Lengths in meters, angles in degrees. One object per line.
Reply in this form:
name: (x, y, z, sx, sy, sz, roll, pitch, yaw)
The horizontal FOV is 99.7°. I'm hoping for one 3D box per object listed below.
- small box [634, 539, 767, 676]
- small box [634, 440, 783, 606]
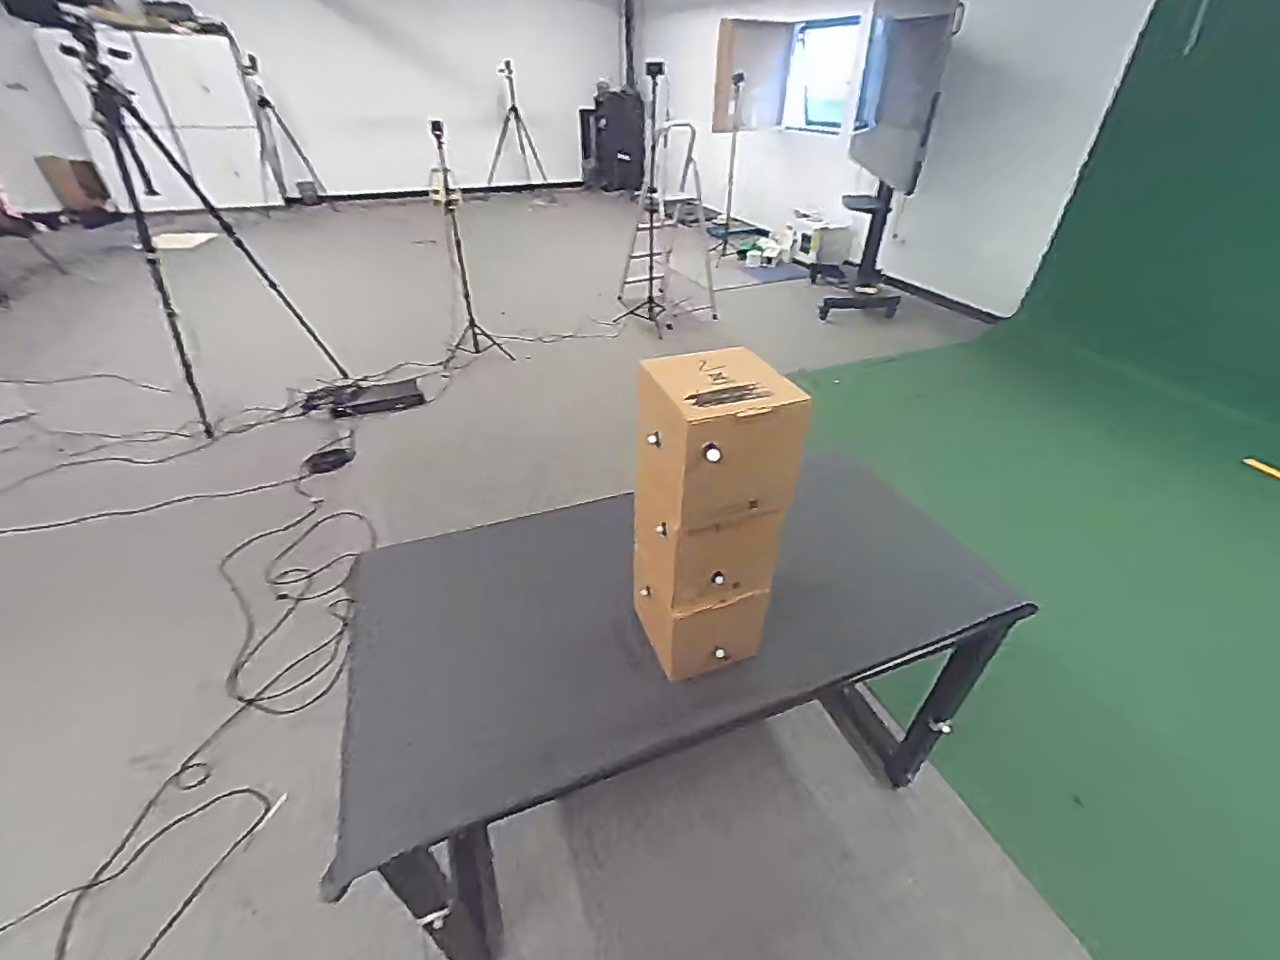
small box: (0.092, 0.199, 0.925, 0.168, 0.176, 0.179, -13, 38, -16)
small box: (0.092, 0.062, 0.837, 0.168, 0.176, 0.179, -11, 38, -16)
